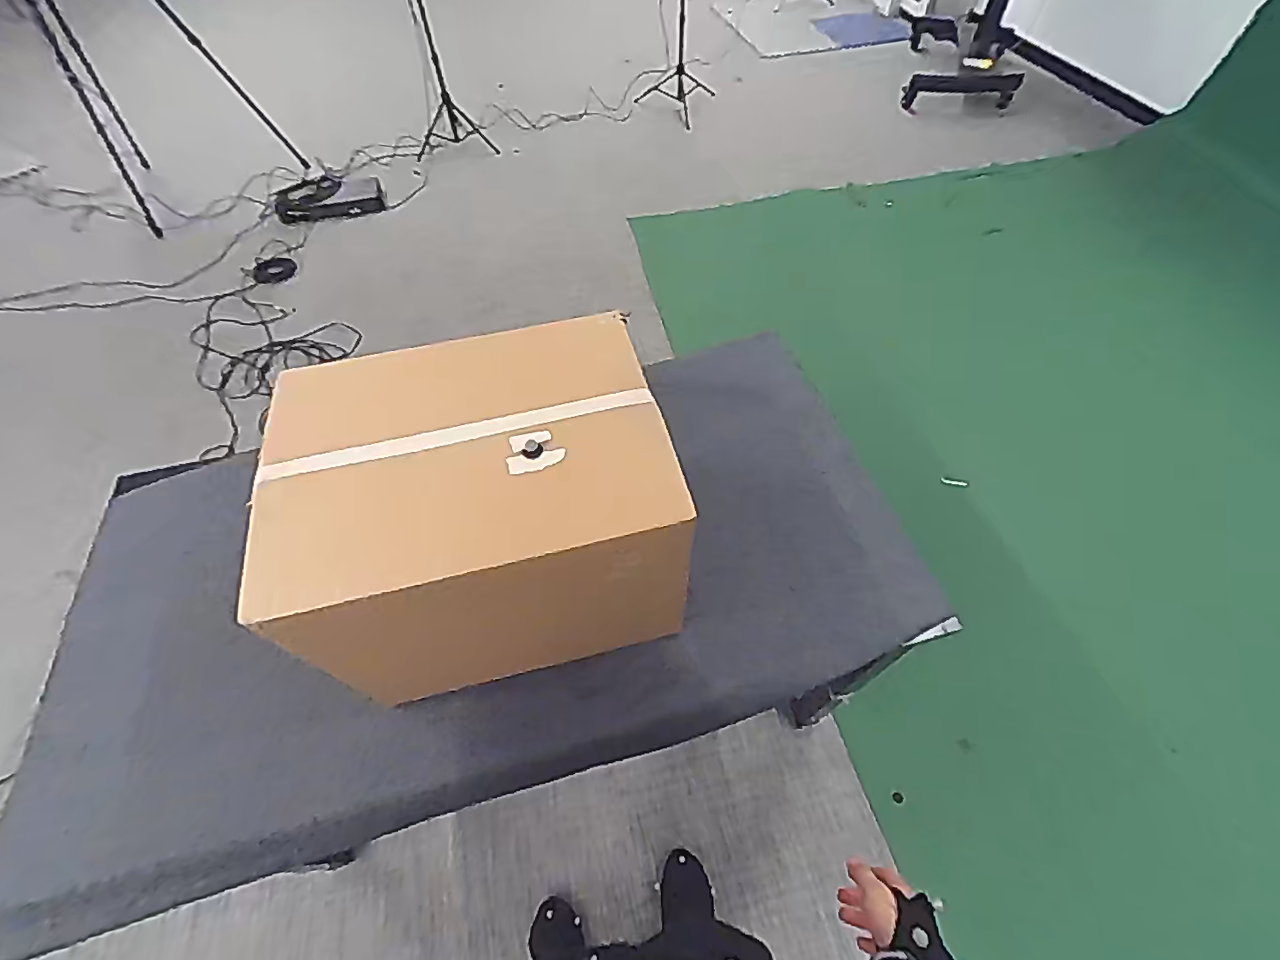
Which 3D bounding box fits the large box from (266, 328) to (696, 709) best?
[{"bbox_3d":[-0.173,0.055,0.699,0.408,0.320,0.320,-12,56,-8],"label":"large box"}]
